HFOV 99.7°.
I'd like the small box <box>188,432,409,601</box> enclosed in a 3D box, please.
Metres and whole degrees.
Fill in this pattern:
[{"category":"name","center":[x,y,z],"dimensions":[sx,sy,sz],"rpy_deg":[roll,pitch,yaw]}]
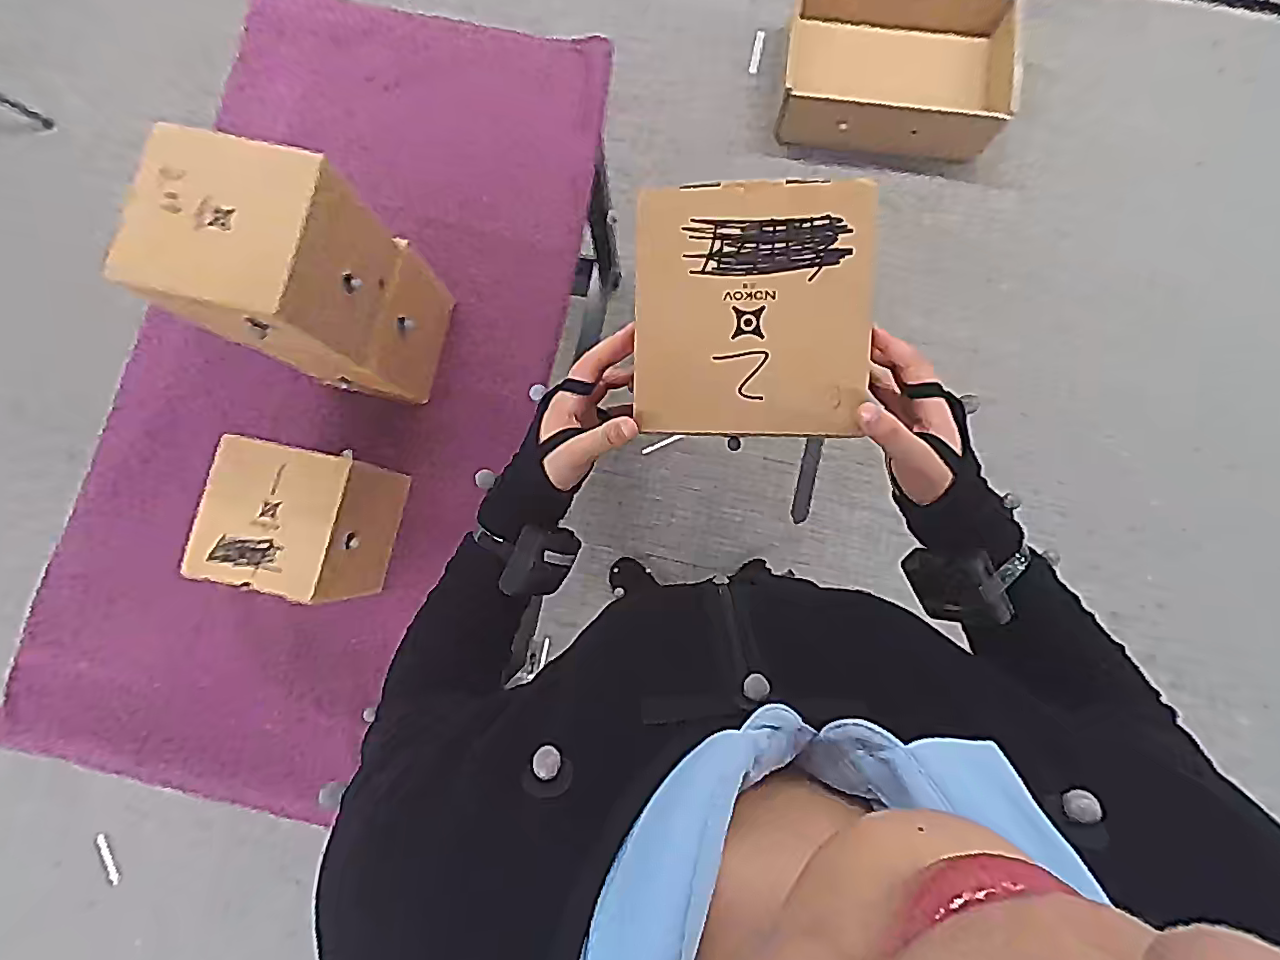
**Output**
[{"category":"small box","center":[-0.436,0.051,0.723],"dimensions":[0.168,0.176,0.179],"rpy_deg":[12,83,2]}]

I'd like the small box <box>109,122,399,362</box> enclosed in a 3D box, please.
[{"category":"small box","center":[-0.398,-0.242,0.593],"dimensions":[0.179,0.176,0.168],"rpy_deg":[12,84,3]}]

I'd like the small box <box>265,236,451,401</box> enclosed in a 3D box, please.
[{"category":"small box","center":[-0.384,-0.228,0.757],"dimensions":[0.168,0.176,0.179],"rpy_deg":[12,84,3]}]
